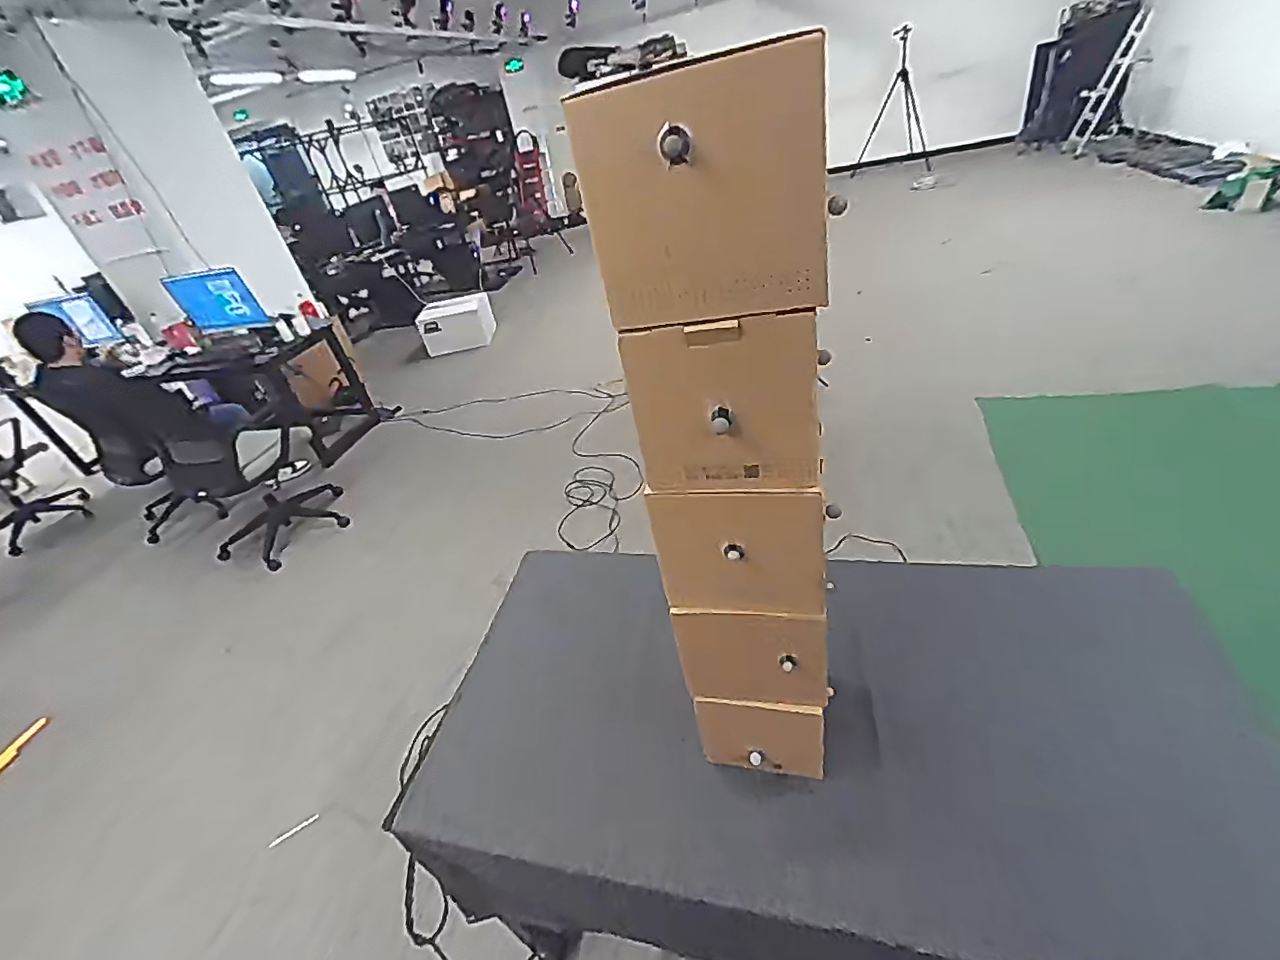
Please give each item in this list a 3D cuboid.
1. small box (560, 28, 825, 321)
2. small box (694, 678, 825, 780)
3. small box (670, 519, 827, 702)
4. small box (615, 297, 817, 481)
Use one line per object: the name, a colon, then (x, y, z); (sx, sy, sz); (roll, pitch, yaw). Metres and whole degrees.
small box: (0.061, -0.243, 0.455); (0.179, 0.176, 0.168); (-1, 34, 18)
small box: (0.184, 0.303, 0.797); (0.168, 0.176, 0.179); (-1, 36, 19)
small box: (0.150, 0.169, 0.711); (0.179, 0.176, 0.168); (-2, 34, 17)
small box: (0.090, -0.109, 0.548); (0.168, 0.176, 0.179); (-2, 35, 17)
